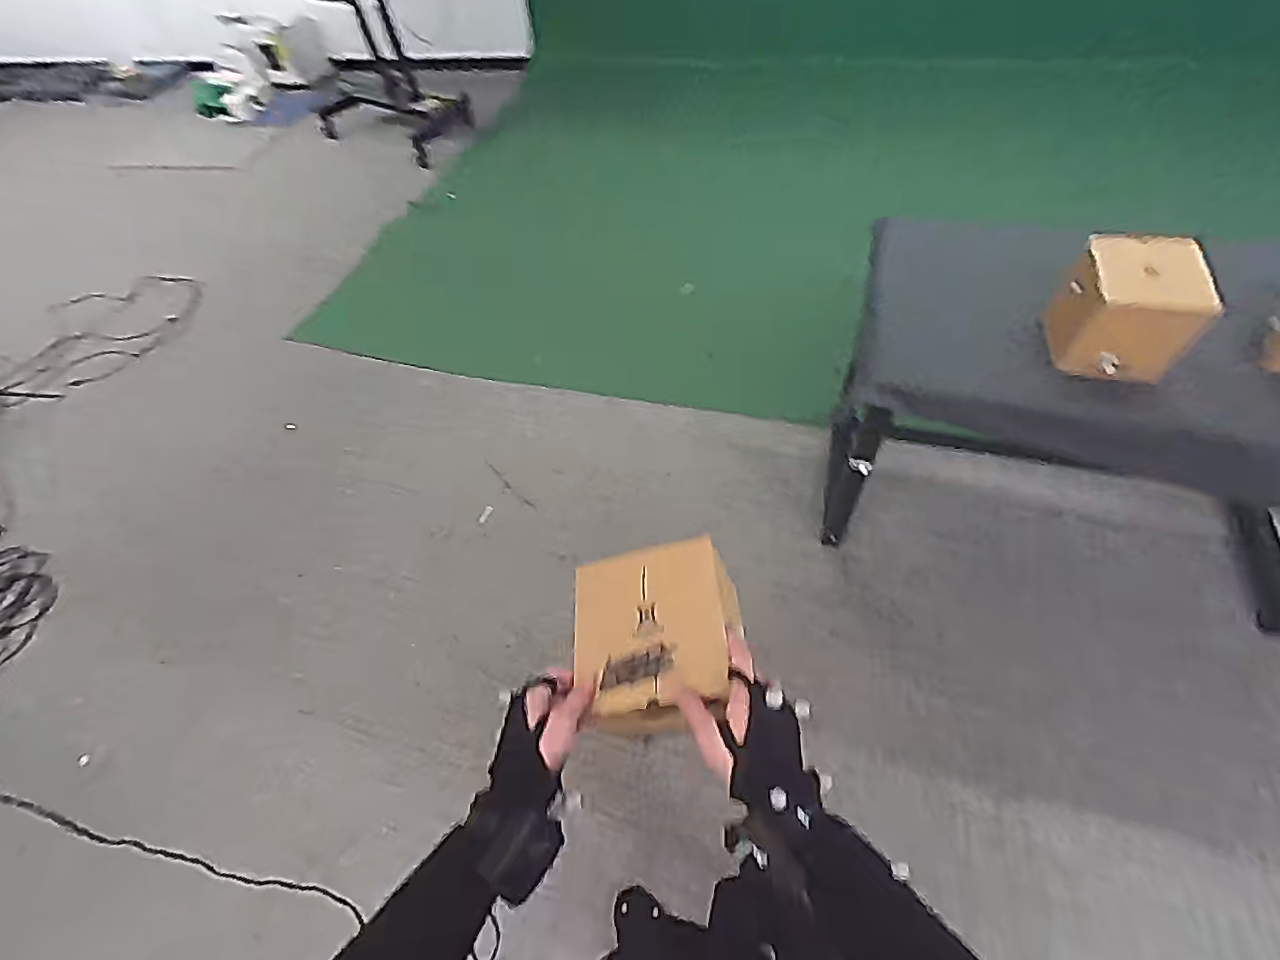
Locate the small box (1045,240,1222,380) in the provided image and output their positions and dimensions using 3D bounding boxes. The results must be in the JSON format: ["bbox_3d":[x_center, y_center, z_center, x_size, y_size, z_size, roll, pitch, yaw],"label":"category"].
[{"bbox_3d":[0.886,-0.312,0.996,0.168,0.176,0.179,8,58,13],"label":"small box"}]

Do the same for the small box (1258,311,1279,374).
[{"bbox_3d":[1.250,-0.268,0.940,0.168,0.176,0.179,31,65,24],"label":"small box"}]

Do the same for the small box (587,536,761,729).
[{"bbox_3d":[0.044,0.193,0.652,0.168,0.176,0.179,-13,55,12],"label":"small box"}]
